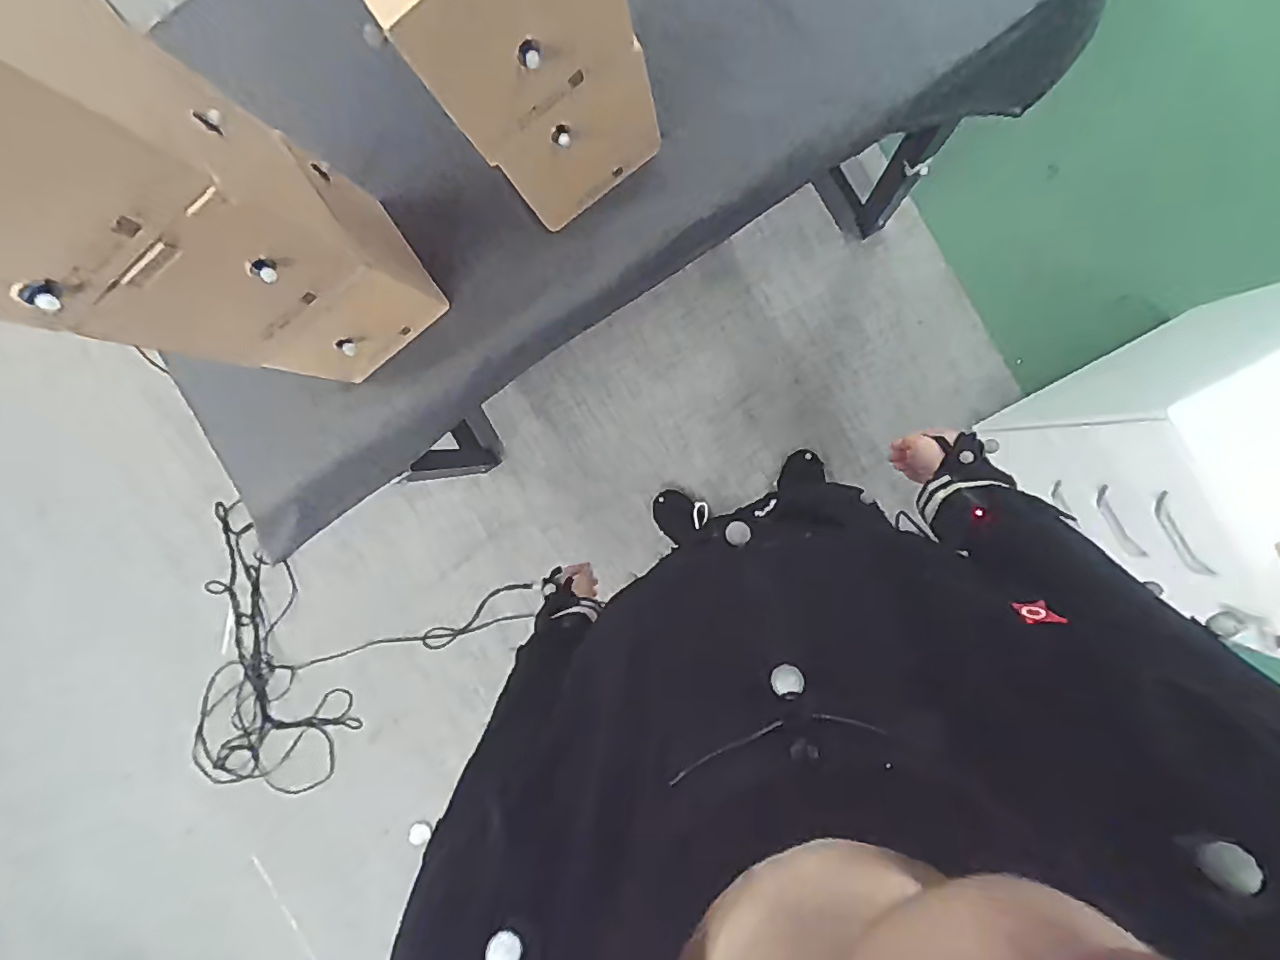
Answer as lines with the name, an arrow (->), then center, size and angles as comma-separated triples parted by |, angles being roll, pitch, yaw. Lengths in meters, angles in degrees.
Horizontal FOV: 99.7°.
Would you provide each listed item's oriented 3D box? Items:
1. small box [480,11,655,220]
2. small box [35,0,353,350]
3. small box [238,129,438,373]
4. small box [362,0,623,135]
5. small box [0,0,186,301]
small box -> -0.102, -0.419, 0.570 | 0.168, 0.176, 0.179 | -34, 88, 9
small box -> -0.392, -0.229, 0.459 | 0.168, 0.176, 0.179 | -37, 86, 7
small box -> -0.370, -0.238, 0.622 | 0.168, 0.176, 0.179 | -35, 88, 7
small box -> -0.131, -0.404, 0.406 | 0.168, 0.176, 0.179 | -34, 88, 8
small box -> -0.416, -0.222, 0.296 | 0.168, 0.176, 0.179 | -38, 87, 7
